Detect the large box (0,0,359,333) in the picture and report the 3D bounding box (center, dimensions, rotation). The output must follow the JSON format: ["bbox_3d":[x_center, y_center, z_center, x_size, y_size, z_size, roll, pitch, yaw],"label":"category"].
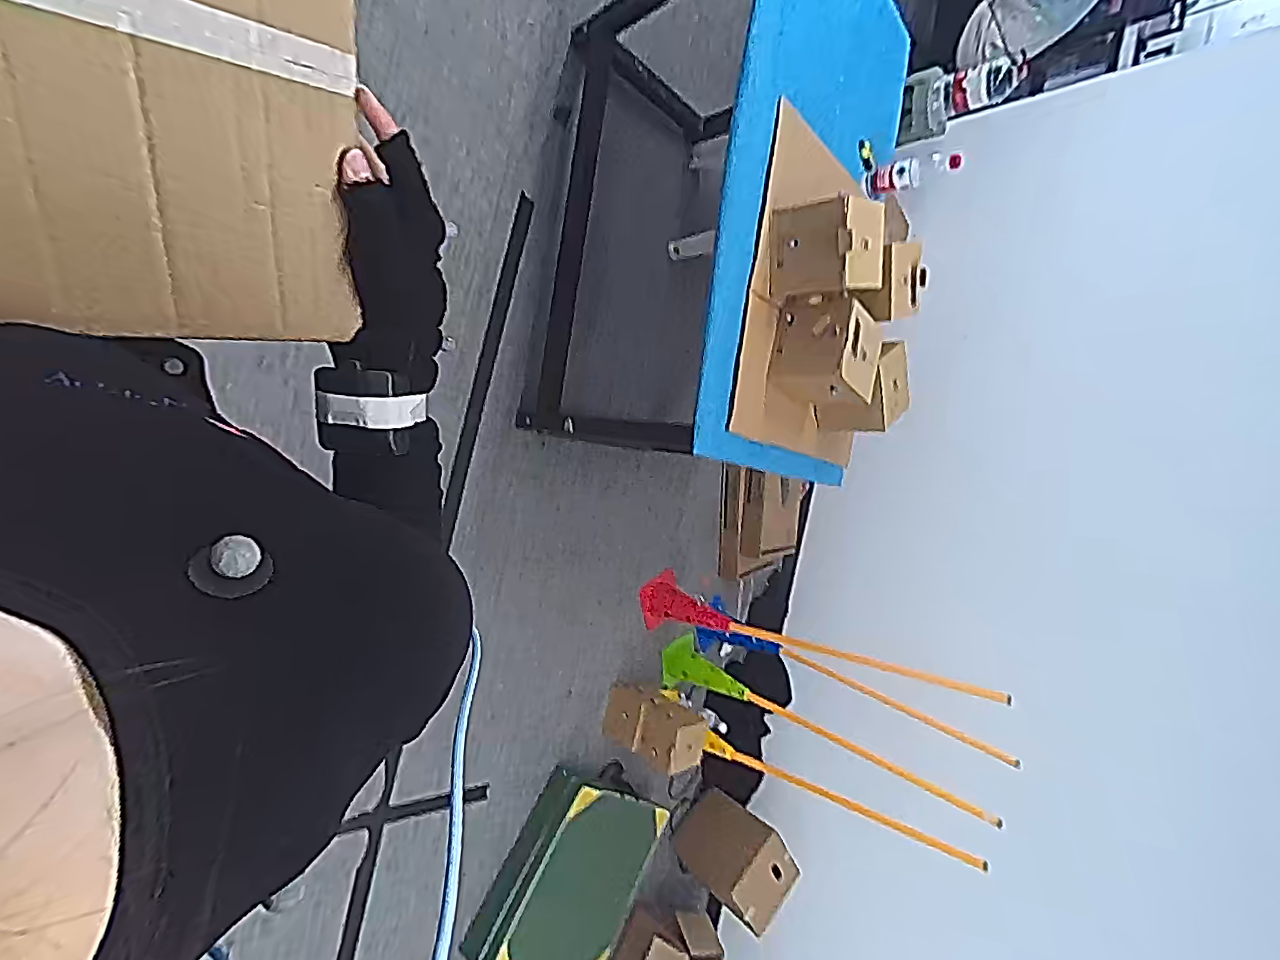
[{"bbox_3d":[-0.423,-0.275,0.300,0.408,0.320,0.320,-11,124,-39],"label":"large box"}]
